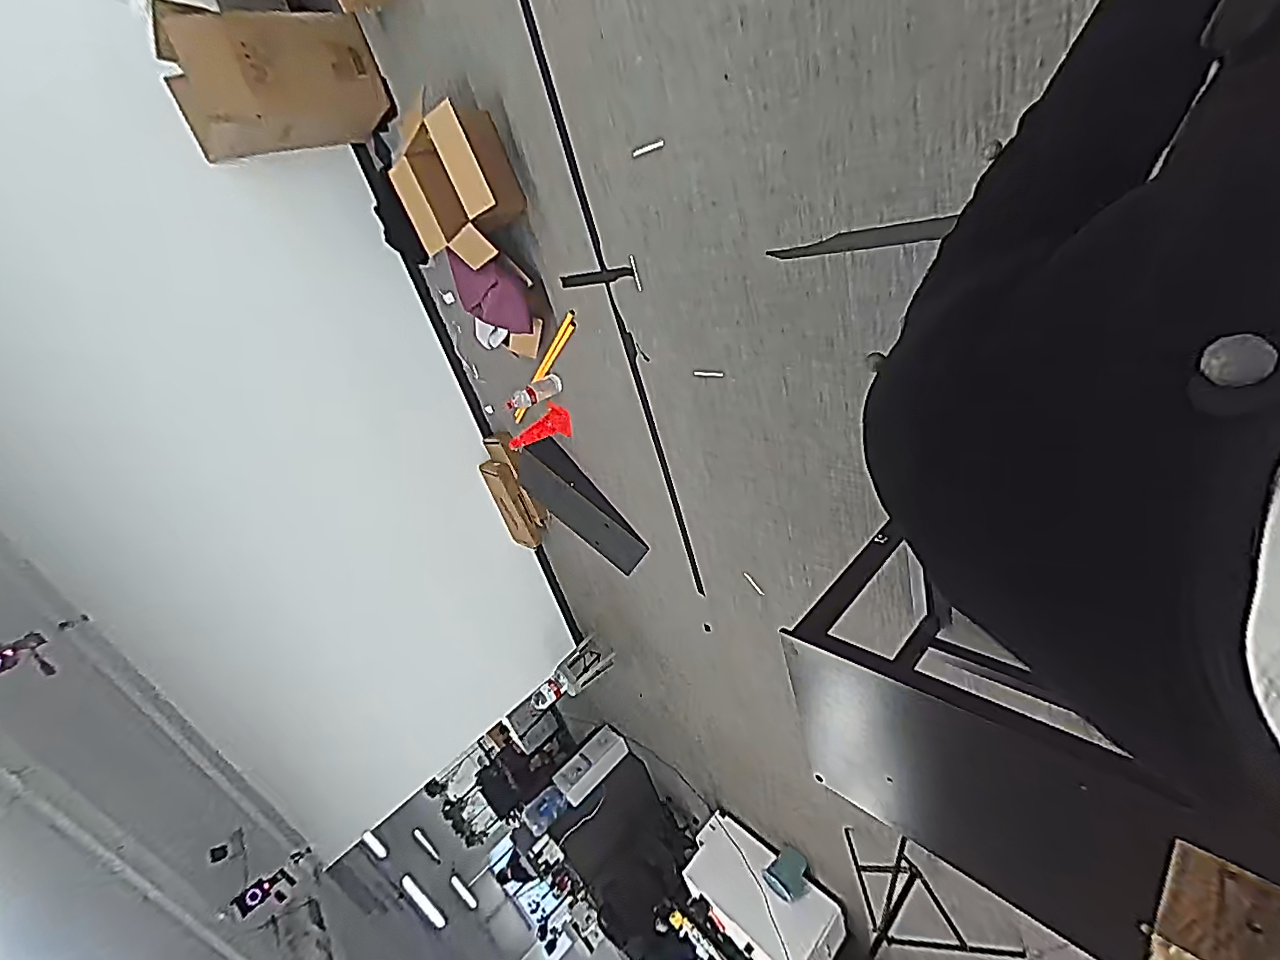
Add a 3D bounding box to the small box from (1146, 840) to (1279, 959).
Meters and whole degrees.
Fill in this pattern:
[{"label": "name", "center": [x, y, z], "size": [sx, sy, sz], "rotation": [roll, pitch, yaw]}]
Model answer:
[{"label": "small box", "center": [0.867, 0.681, 0.787], "size": [0.168, 0.176, 0.179], "rotation": [14, 131, 48]}]
